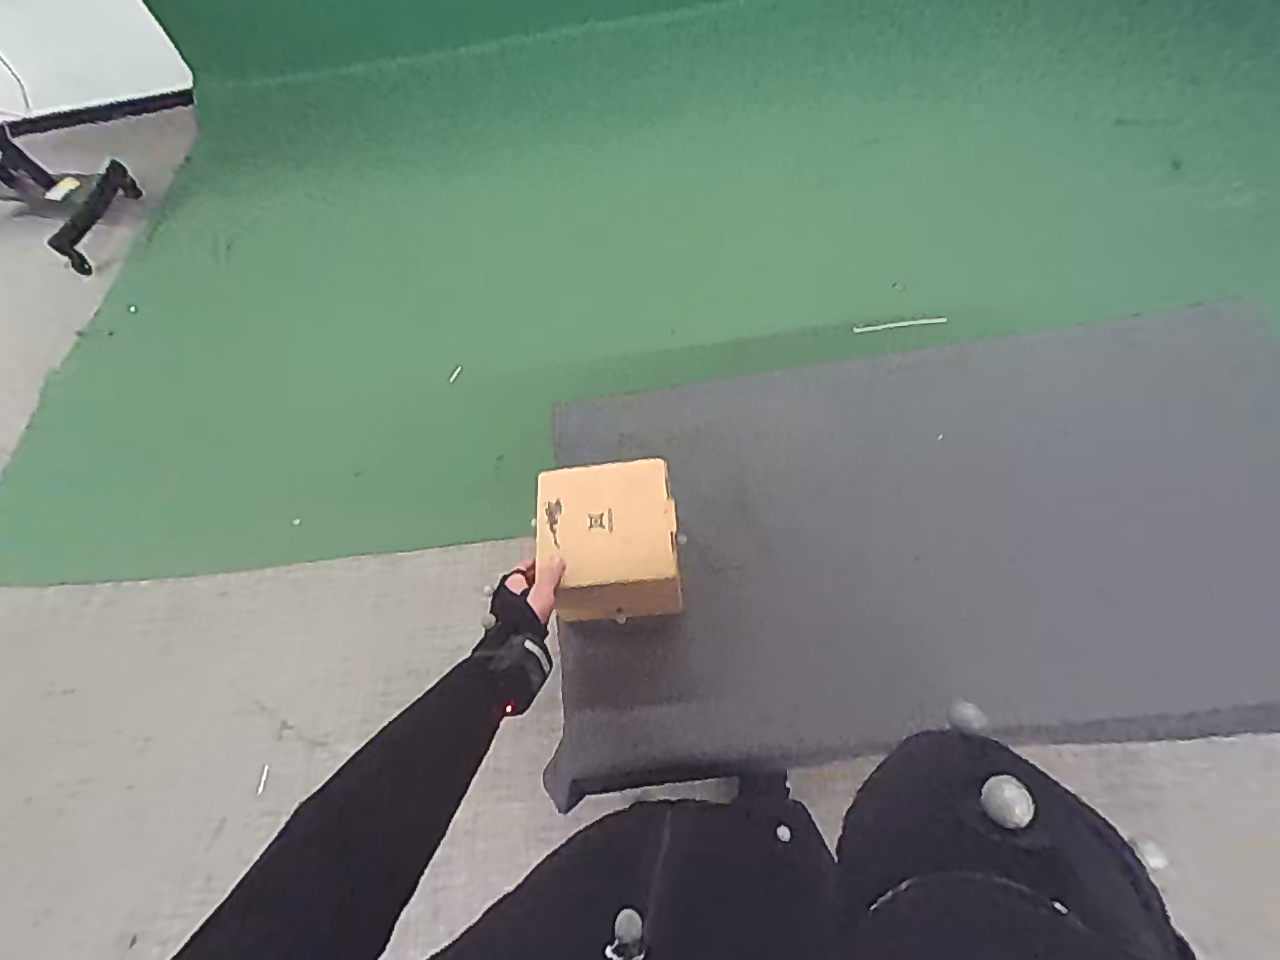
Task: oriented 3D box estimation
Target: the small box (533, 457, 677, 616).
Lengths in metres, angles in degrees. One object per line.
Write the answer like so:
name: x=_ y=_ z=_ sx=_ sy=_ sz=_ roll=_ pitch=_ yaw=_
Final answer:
small box: x=-0.040 y=0.085 z=0.756 sx=0.179 sy=0.176 sz=0.168 roll=-5 pitch=61 yaw=3
